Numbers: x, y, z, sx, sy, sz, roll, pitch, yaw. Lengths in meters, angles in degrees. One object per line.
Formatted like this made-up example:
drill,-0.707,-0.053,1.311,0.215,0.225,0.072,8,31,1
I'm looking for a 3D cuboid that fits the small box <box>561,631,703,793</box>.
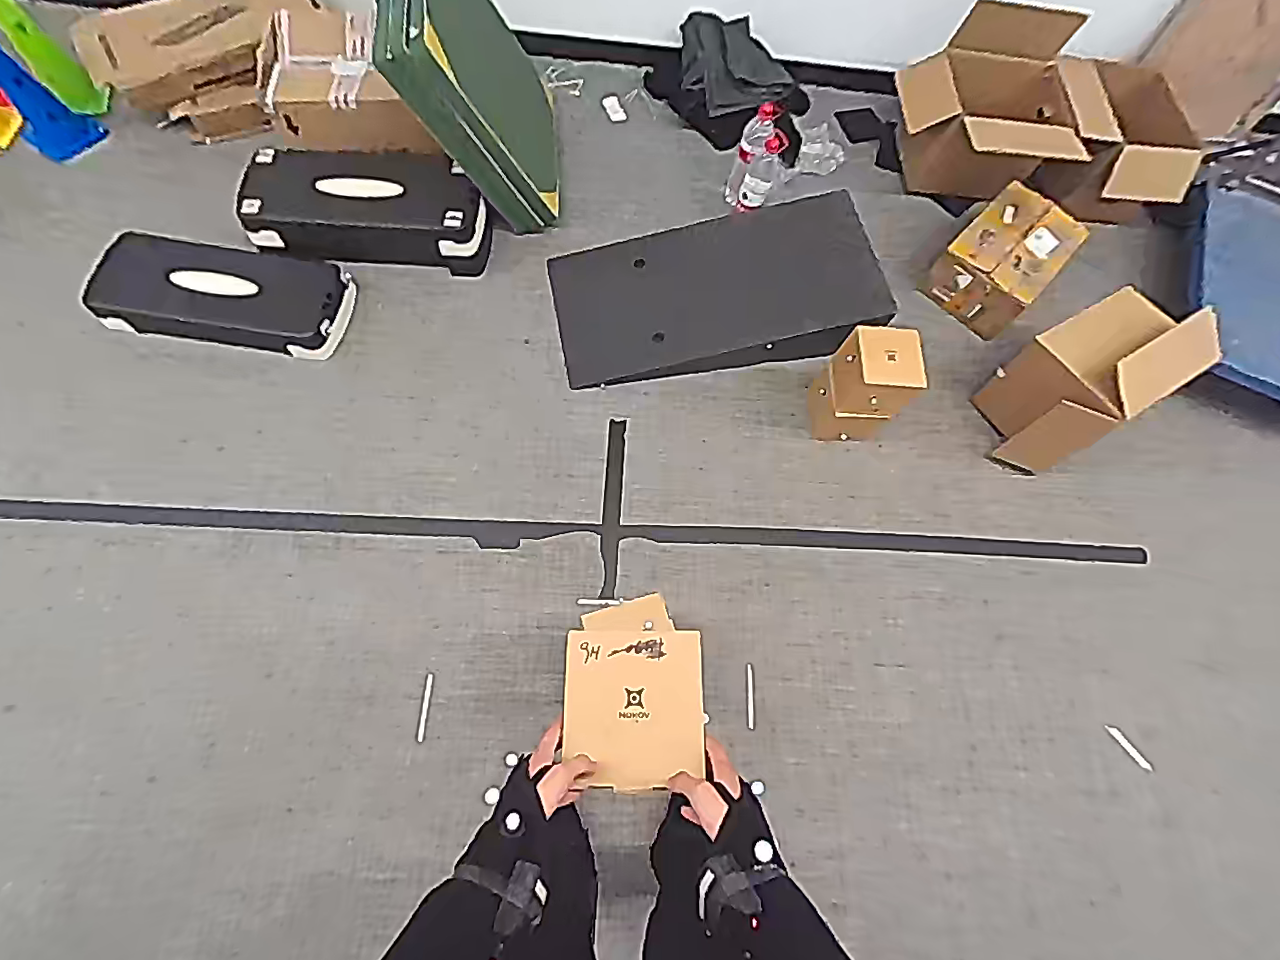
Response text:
small box,-0.005,0.296,0.713,0.168,0.176,0.179,1,69,1
